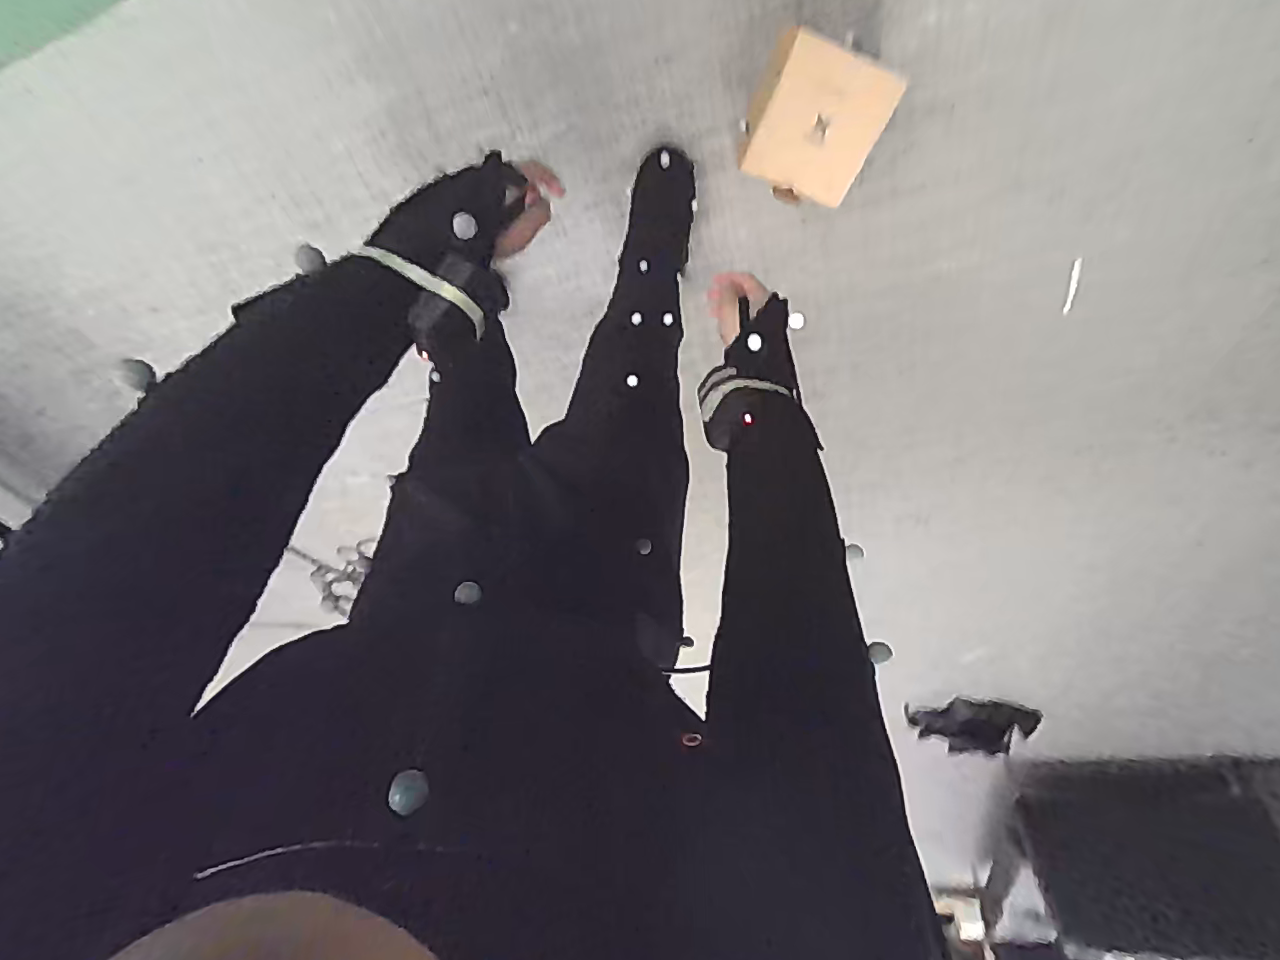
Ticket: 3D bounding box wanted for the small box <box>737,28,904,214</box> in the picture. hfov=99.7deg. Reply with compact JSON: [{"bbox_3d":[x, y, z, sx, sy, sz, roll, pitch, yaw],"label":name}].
[{"bbox_3d":[0.255,-0.542,0.816,0.168,0.176,0.179,16,132,-10],"label":"small box"}]
